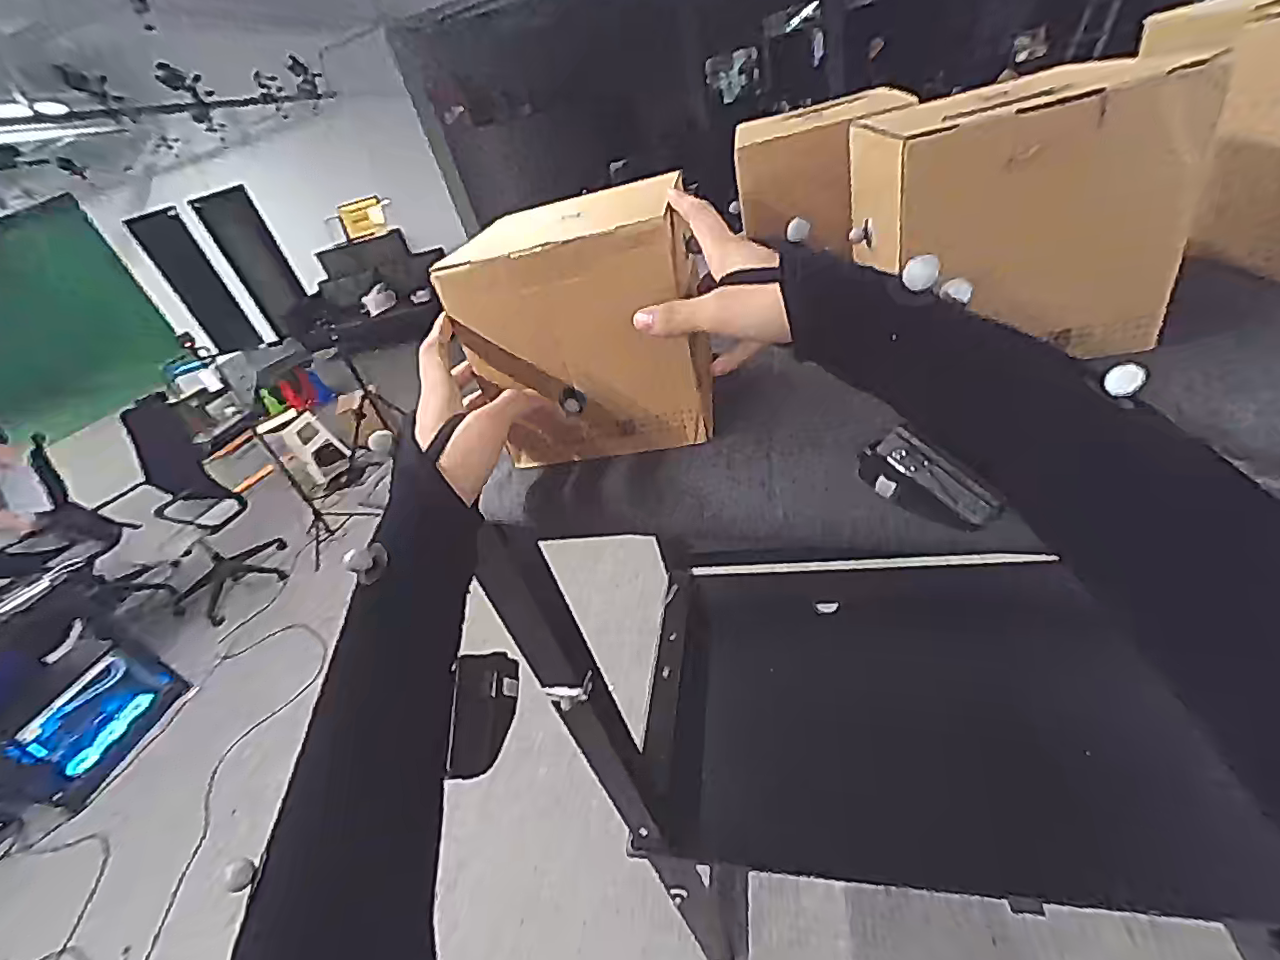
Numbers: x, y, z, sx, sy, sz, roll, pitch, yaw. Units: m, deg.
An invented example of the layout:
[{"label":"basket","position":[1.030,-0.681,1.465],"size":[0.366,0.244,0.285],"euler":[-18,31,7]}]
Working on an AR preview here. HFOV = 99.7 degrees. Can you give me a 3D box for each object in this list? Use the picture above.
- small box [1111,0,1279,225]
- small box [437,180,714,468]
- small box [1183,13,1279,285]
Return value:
[{"label":"small box","position":[0.608,-0.363,0.516],"size":[0.179,0.176,0.168],"euler":[-4,35,17]},{"label":"small box","position":[-0.032,-0.131,0.456],"size":[0.168,0.176,0.179],"euler":[-7,35,13]},{"label":"small box","position":[0.532,-0.231,0.358],"size":[0.168,0.176,0.179],"euler":[-11,35,9]}]
